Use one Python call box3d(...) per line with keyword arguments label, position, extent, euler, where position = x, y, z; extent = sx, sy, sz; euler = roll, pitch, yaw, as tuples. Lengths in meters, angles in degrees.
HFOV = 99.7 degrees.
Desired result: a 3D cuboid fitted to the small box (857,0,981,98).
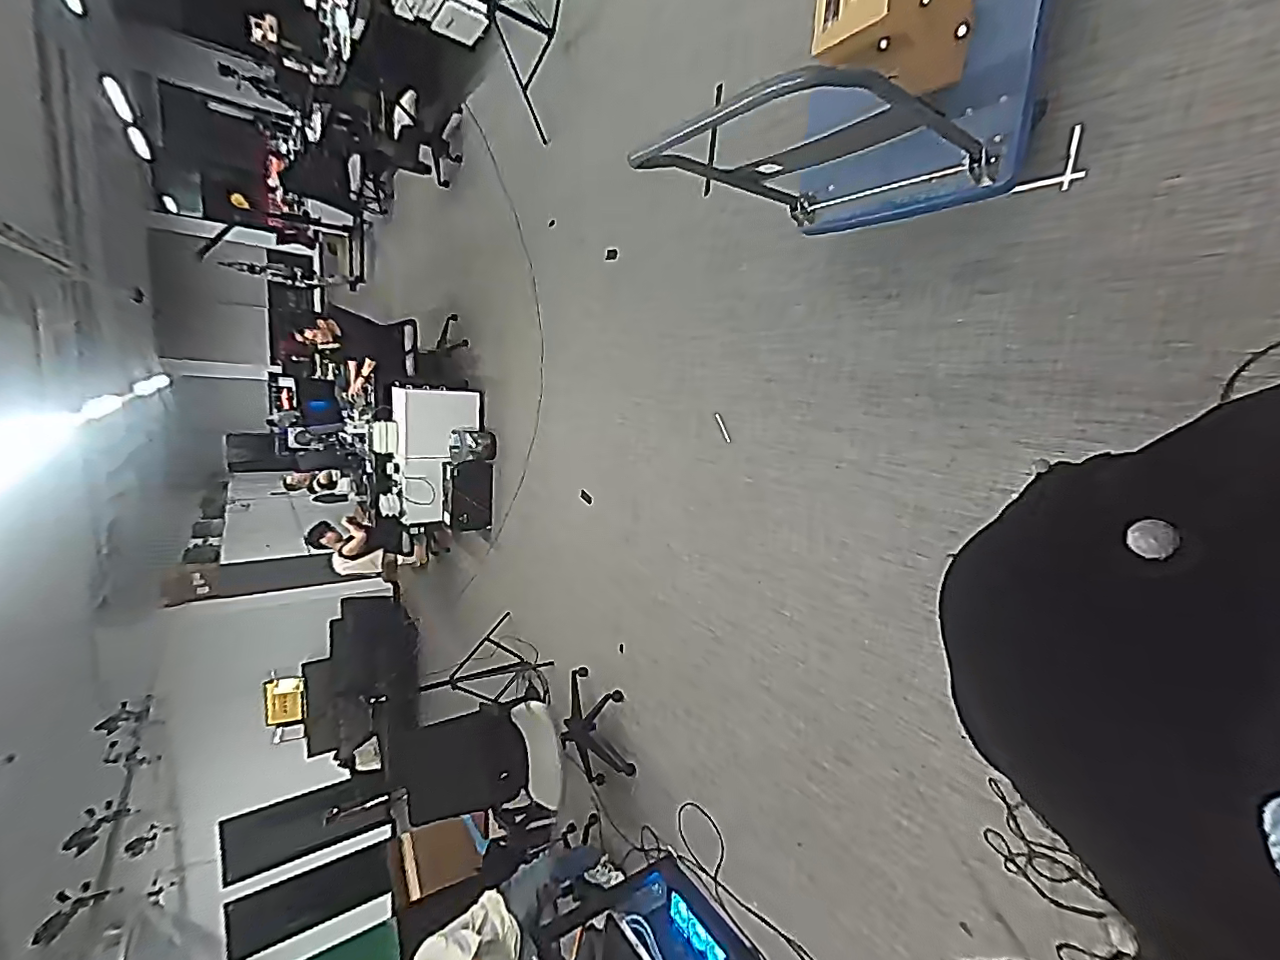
box3d(label="small box", position=(0.633, -1.009, 1.232), extent=(0.179, 0.176, 0.168), euler=(22, 111, 51))
